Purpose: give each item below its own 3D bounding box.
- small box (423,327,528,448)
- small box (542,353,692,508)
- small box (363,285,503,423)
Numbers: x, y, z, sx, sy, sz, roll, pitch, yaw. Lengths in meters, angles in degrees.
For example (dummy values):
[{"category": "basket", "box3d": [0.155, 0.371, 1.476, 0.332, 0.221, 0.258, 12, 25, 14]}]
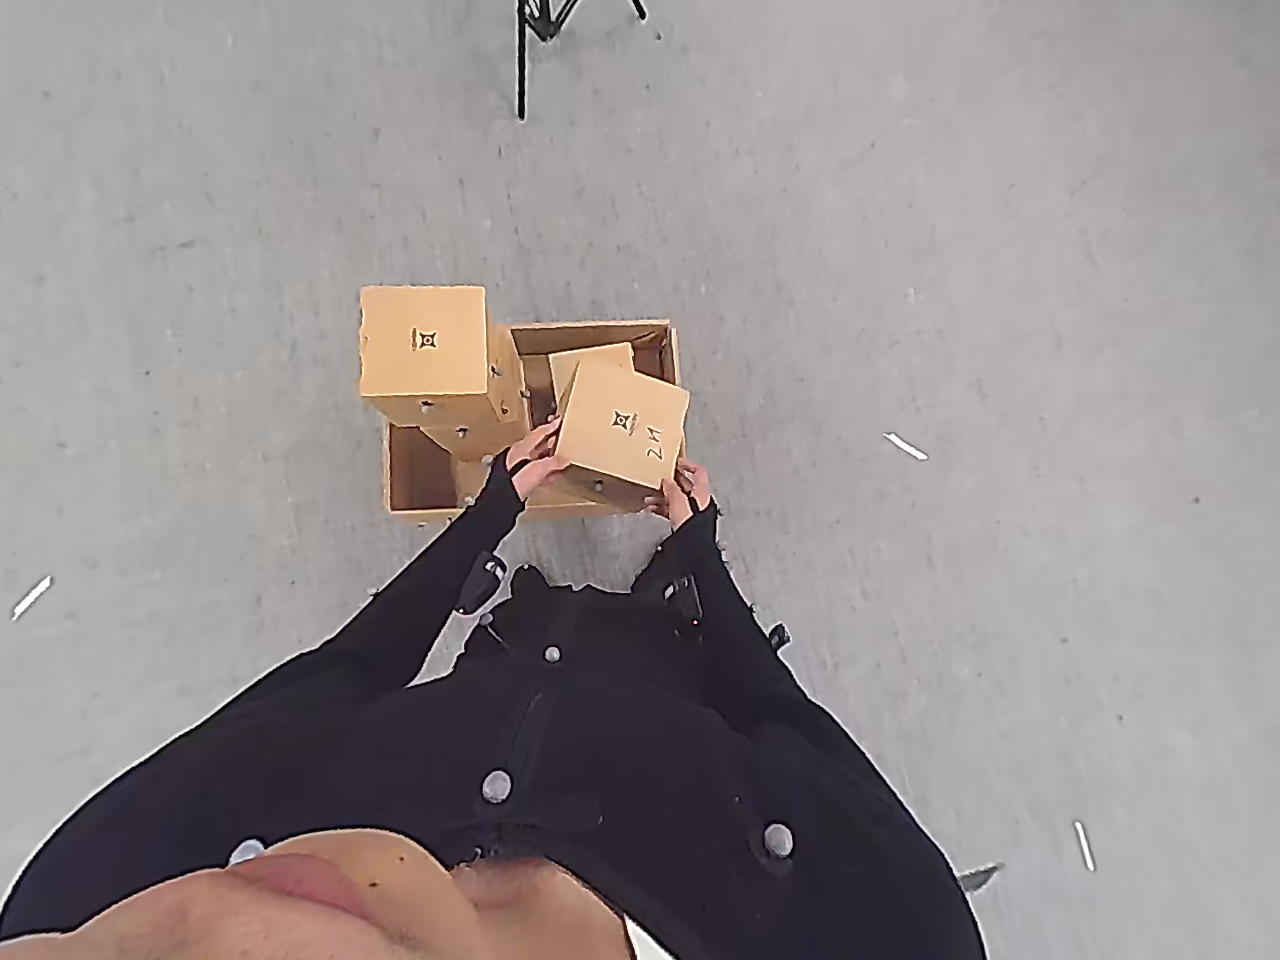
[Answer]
[{"category": "small box", "box3d": [-0.304, -0.167, 1.009, 0.168, 0.176, 0.179, -6, 82, -7]}, {"category": "small box", "box3d": [-0.043, -0.064, 0.837, 0.179, 0.176, 0.168, 17, 73, -14]}, {"category": "small box", "box3d": [-0.311, -0.188, 0.846, 0.179, 0.176, 0.168, -3, 82, -7]}]
